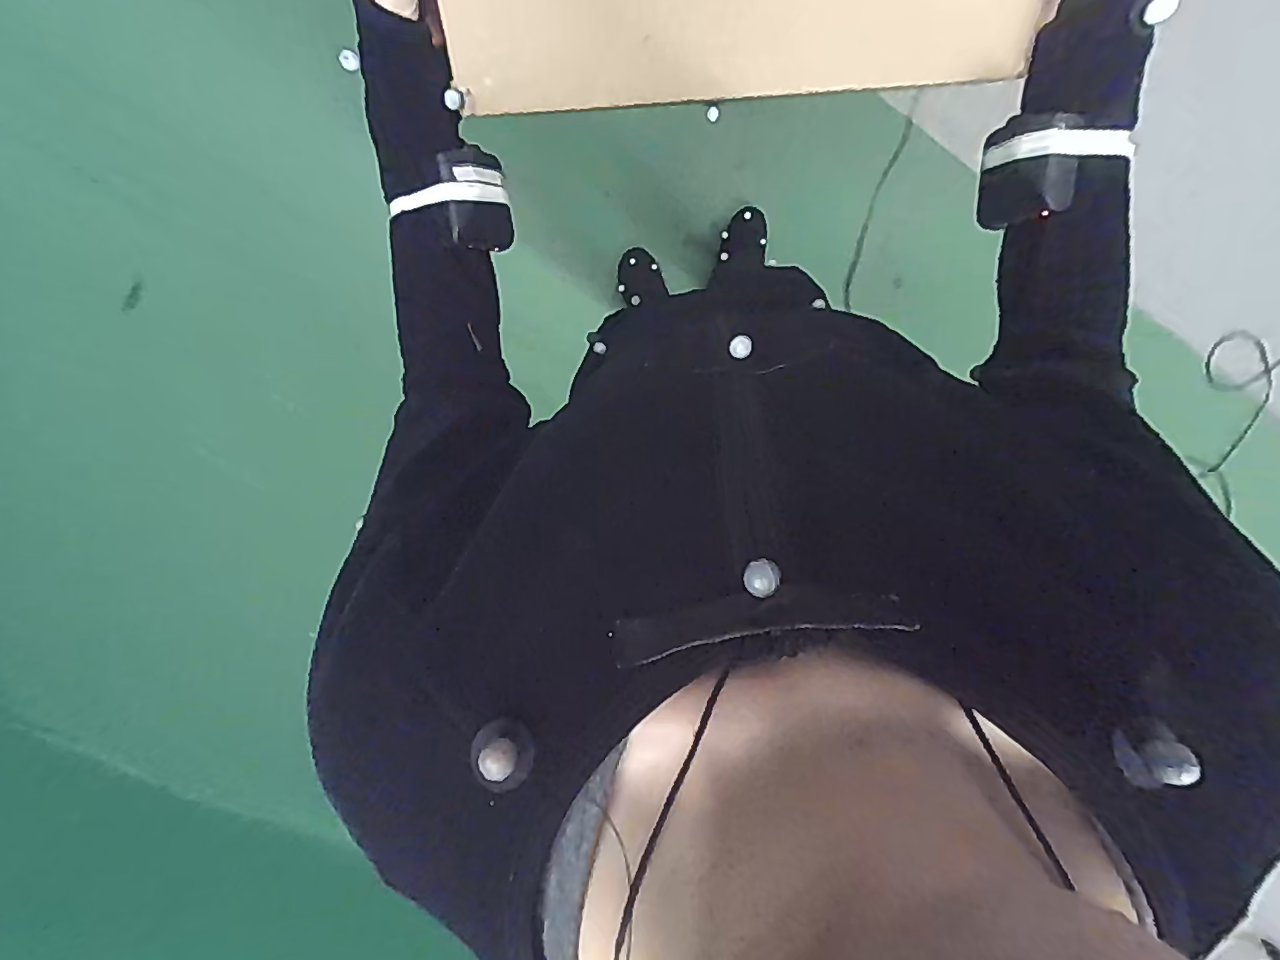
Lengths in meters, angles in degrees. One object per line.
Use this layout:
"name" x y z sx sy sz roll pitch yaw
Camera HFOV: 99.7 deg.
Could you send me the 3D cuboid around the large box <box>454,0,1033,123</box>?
"large box" 0.067 -0.493 0.436 0.408 0.320 0.320 -2 124 3
